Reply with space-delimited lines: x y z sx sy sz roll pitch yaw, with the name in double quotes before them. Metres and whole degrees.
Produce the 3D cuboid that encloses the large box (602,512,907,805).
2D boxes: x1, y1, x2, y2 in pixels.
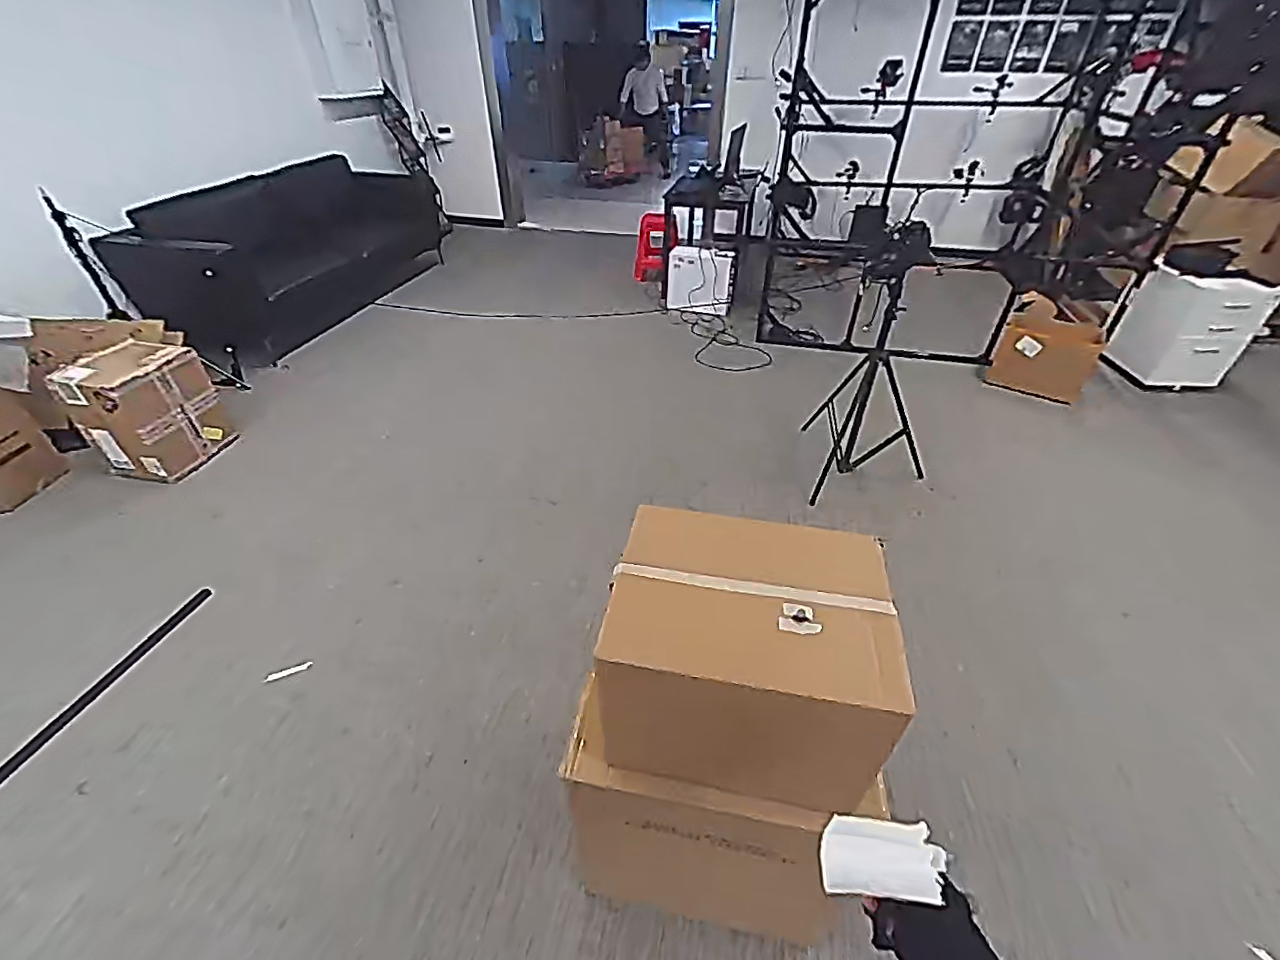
"large box" 0.164 0.288 0.907 0.408 0.320 0.320 8 39 8
